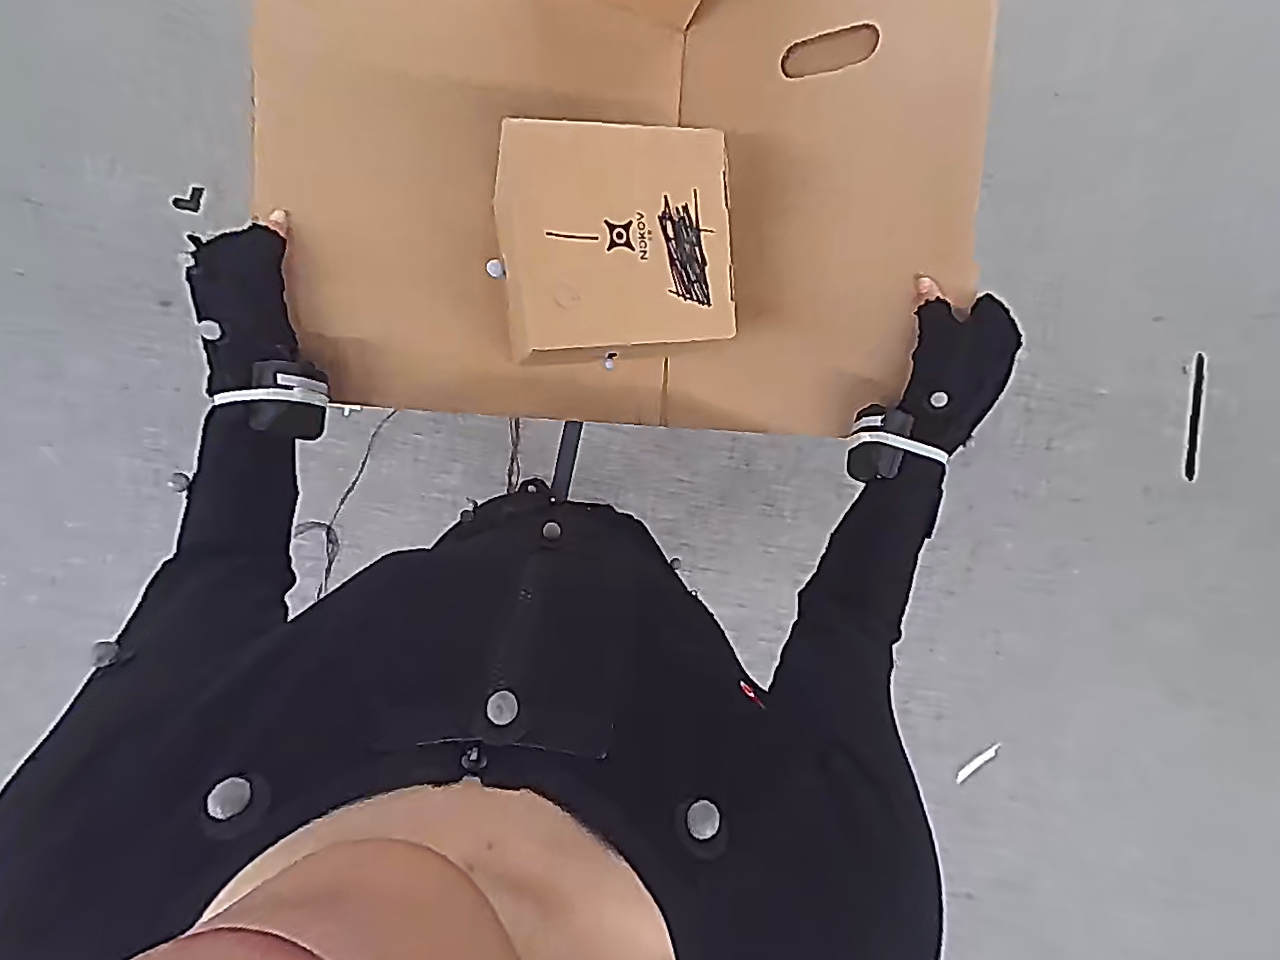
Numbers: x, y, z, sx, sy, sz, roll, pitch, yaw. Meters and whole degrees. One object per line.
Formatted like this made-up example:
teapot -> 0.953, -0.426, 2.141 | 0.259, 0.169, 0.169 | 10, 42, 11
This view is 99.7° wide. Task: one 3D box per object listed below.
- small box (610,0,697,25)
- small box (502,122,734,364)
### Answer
small box -> 0.004, -0.562, 0.478 | 0.179, 0.176, 0.168 | 6, 95, -19
small box -> -0.029, -0.203, 0.509 | 0.179, 0.176, 0.168 | -7, 99, -16
